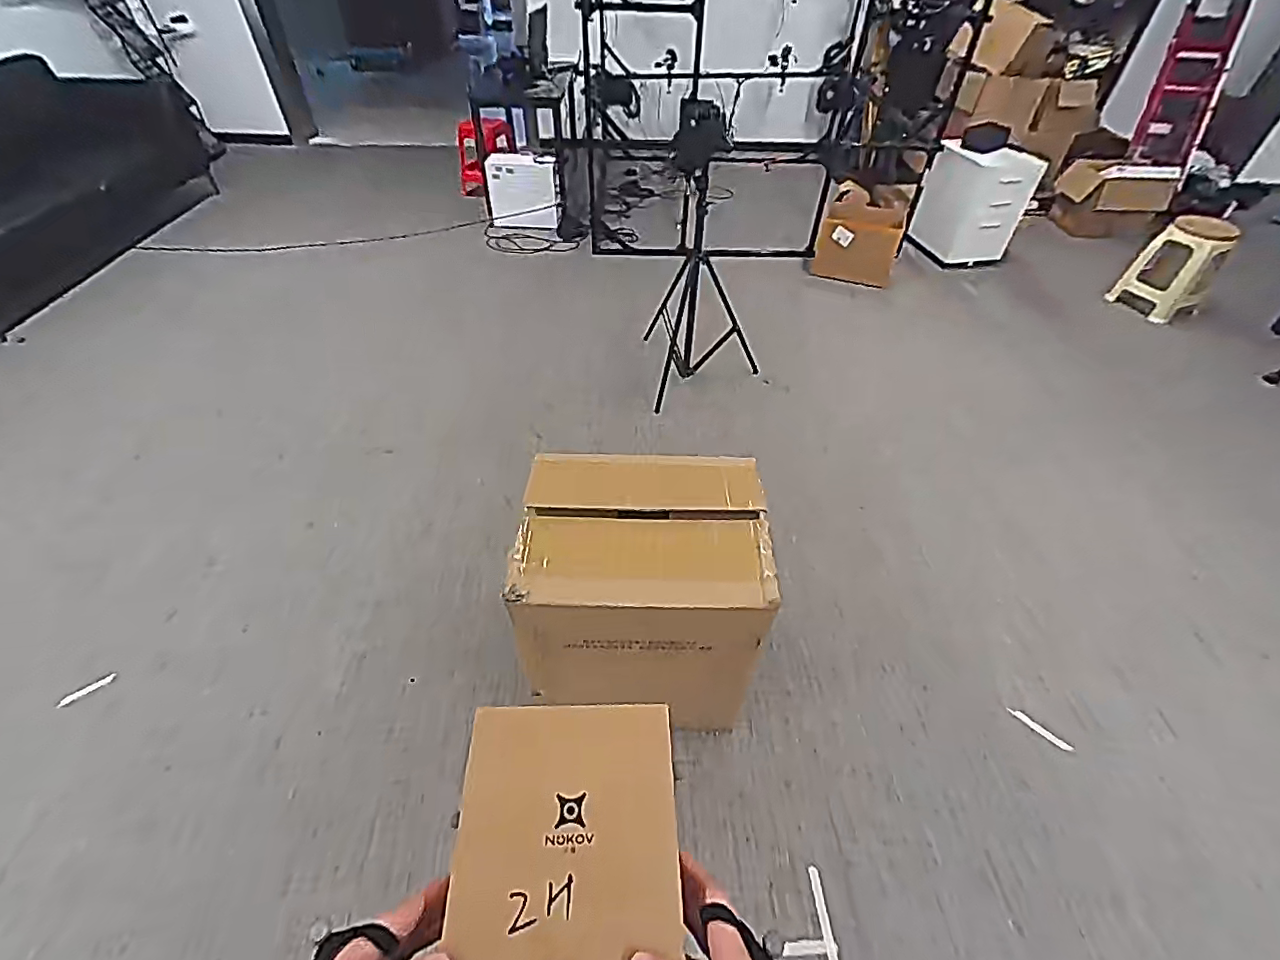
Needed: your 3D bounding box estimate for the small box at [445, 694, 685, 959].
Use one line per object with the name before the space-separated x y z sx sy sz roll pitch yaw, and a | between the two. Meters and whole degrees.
small box | -0.058 0.307 0.478 0.168 0.176 0.179 1 49 -4
